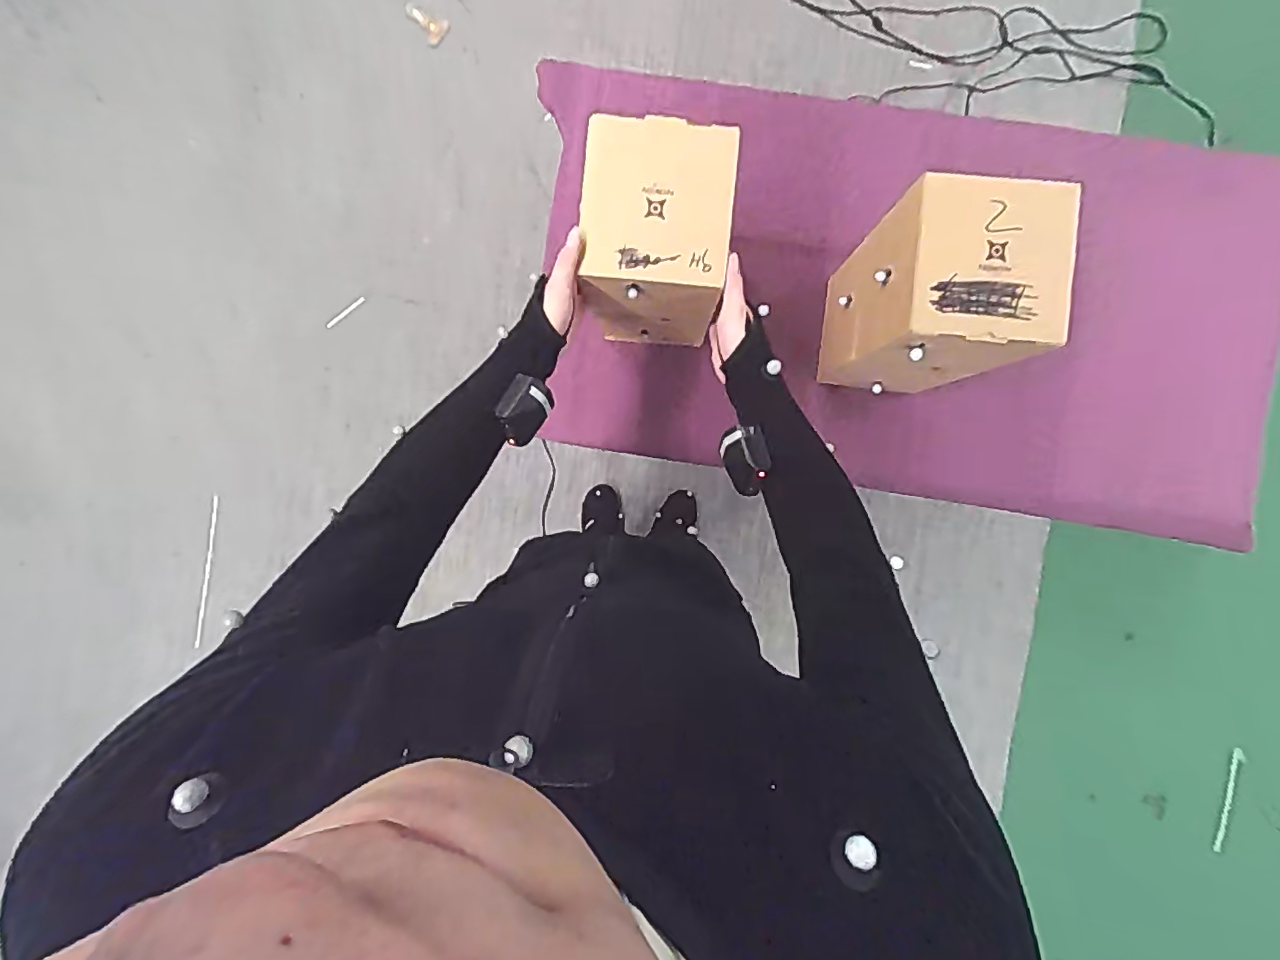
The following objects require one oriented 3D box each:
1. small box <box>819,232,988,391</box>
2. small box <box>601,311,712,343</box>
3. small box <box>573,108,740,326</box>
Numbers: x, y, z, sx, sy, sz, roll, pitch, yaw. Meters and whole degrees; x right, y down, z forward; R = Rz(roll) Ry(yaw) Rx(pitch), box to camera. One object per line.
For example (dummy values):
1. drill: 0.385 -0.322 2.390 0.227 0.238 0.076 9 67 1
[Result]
1. small box: 0.380 -0.241 0.810 0.168 0.176 0.179 7 91 2
2. small box: 0.025 -0.319 0.819 0.168 0.176 0.179 4 92 1
3. small box: 0.018 -0.303 0.656 0.168 0.176 0.179 6 91 1
